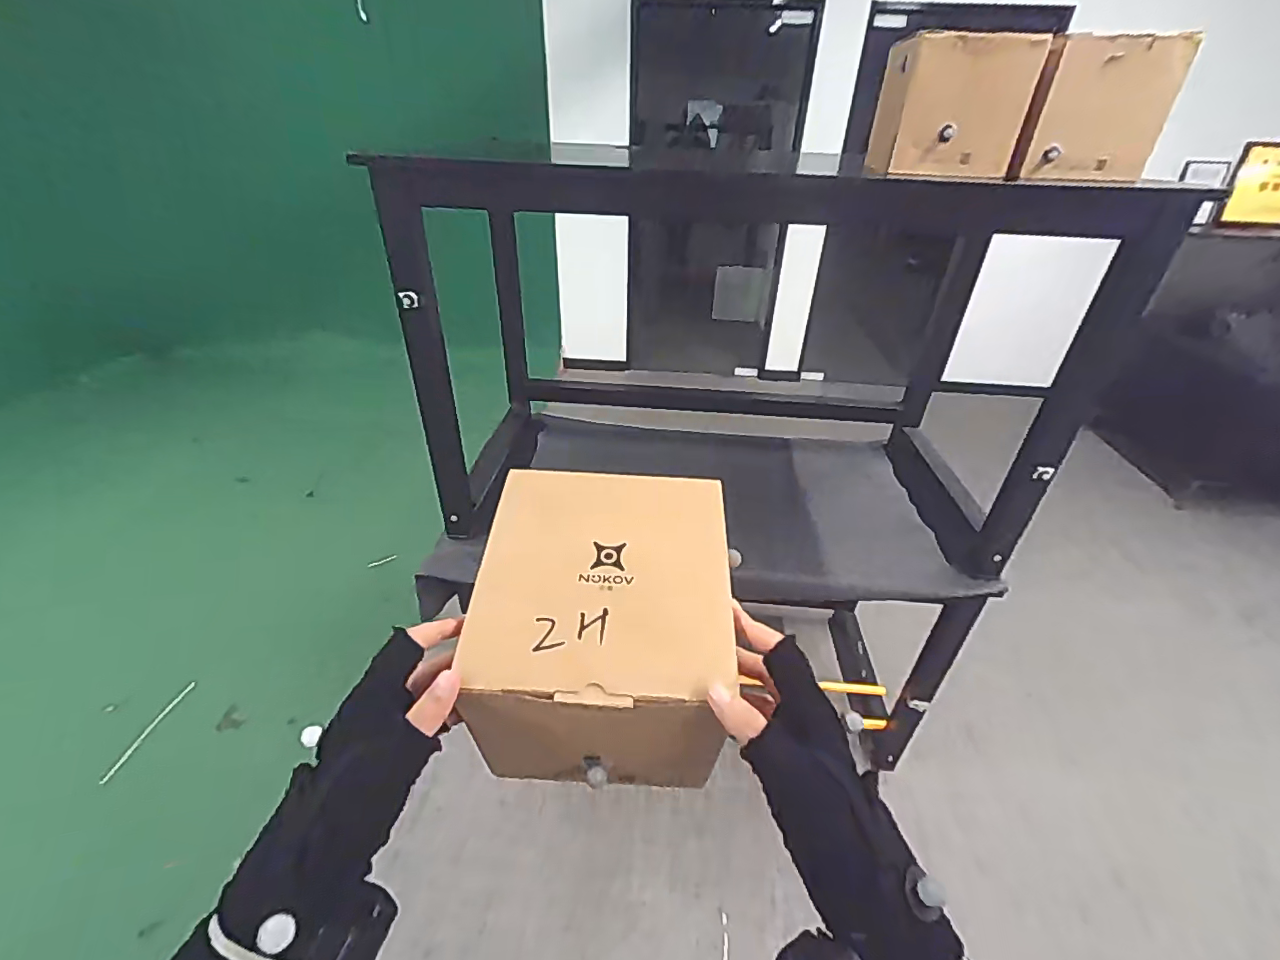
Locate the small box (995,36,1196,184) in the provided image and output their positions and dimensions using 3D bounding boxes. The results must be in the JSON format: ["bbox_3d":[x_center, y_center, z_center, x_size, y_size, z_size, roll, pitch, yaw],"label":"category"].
[{"bbox_3d":[0.643,-0.546,0.812,0.168,0.176,0.179,6,33,6],"label":"small box"}]

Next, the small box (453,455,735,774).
[{"bbox_3d":[-0.025,0.103,0.421,0.168,0.176,0.179,3,45,1],"label":"small box"}]

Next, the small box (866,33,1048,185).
[{"bbox_3d":[0.462,-0.560,0.826,0.168,0.176,0.179,7,34,6],"label":"small box"}]
